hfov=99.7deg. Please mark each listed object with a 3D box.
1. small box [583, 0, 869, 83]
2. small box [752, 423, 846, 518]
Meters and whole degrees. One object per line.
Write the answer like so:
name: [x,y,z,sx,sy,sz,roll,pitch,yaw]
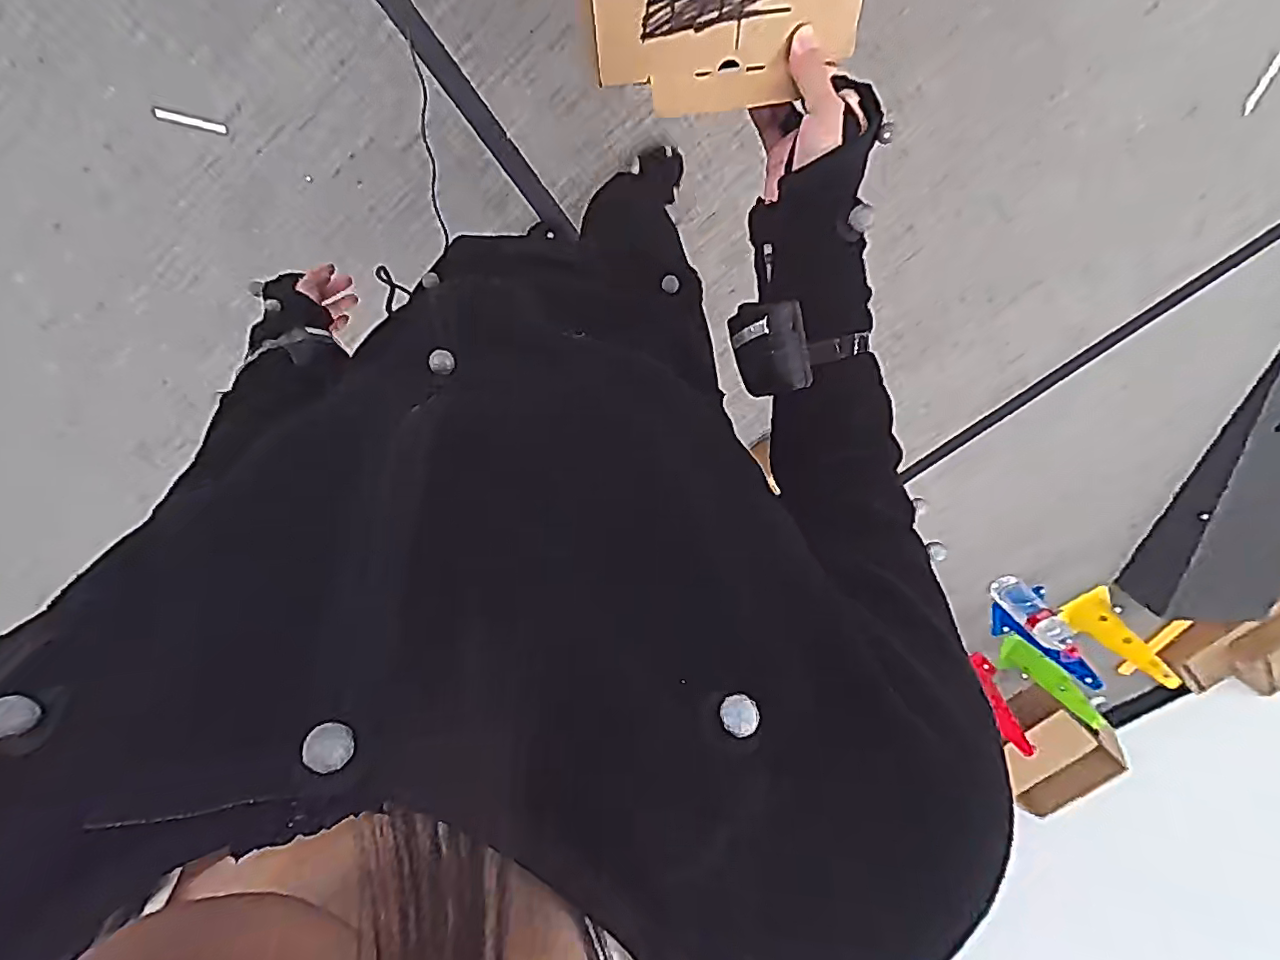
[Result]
small box: [0.043,-0.374,0.337,0.168,0.176,0.179,-9,133,-3]
small box: [0.442,-0.031,1.521,0.179,0.176,0.168,-30,120,9]
